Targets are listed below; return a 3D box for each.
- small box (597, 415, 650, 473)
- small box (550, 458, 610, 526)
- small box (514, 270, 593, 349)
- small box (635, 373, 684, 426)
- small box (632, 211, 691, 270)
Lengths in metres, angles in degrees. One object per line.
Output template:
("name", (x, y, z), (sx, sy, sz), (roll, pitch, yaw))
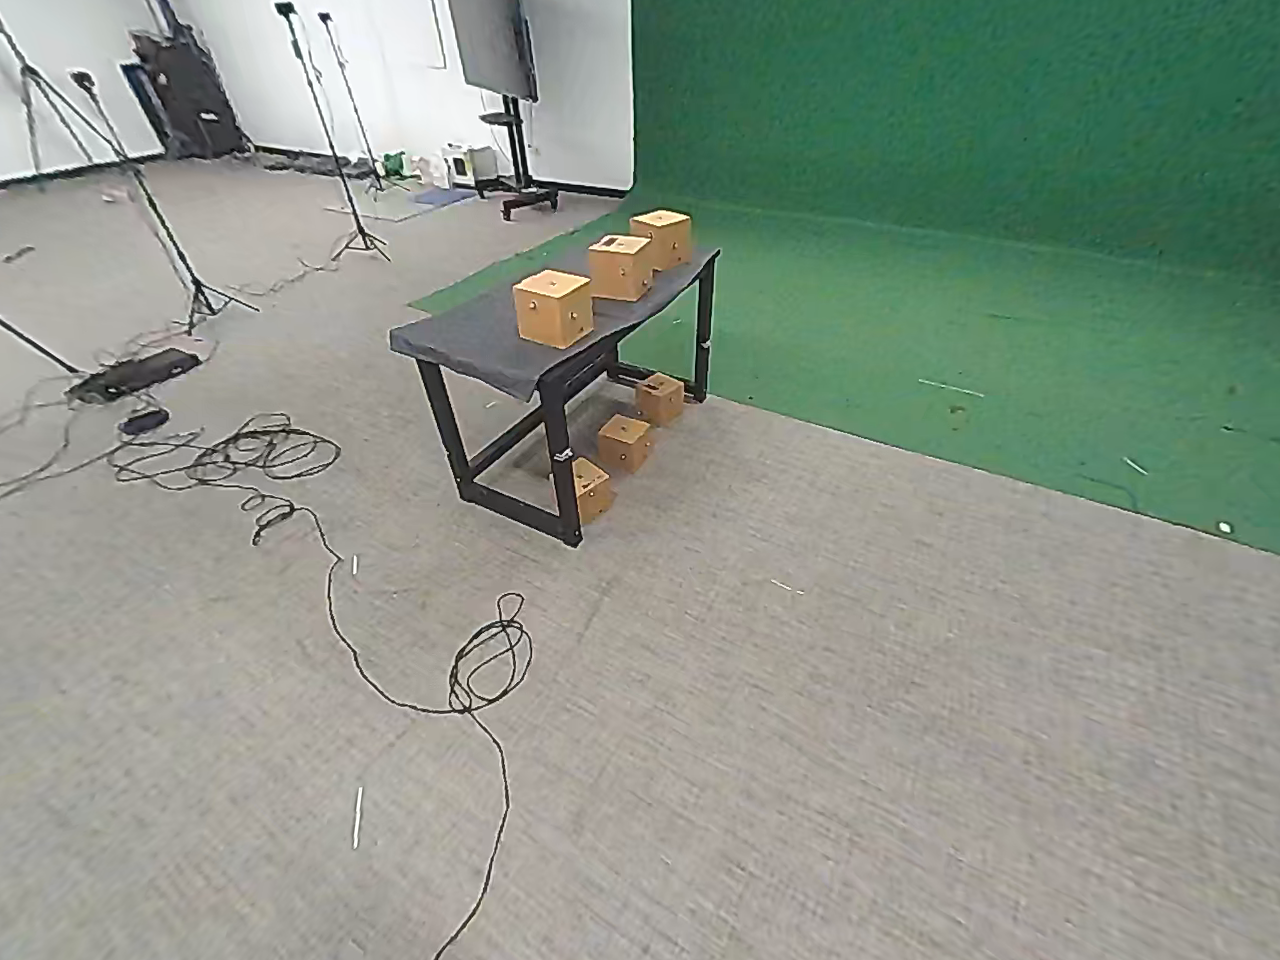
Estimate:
("small box", (-0.068, -0.153, 2.351), (0.179, 0.176, 0.168), (18, 44, 21))
("small box", (-0.233, 0.048, 2.125), (0.168, 0.176, 0.179), (-32, 49, -30))
("small box", (-0.259, -0.526, 1.675), (0.179, 0.176, 0.168), (21, 46, 24))
("small box", (0.094, -0.388, 2.614), (0.168, 0.176, 0.179), (31, 49, 31))
("small box", (0.087, -0.949, 2.145), (0.168, 0.176, 0.179), (-29, 46, -28))
